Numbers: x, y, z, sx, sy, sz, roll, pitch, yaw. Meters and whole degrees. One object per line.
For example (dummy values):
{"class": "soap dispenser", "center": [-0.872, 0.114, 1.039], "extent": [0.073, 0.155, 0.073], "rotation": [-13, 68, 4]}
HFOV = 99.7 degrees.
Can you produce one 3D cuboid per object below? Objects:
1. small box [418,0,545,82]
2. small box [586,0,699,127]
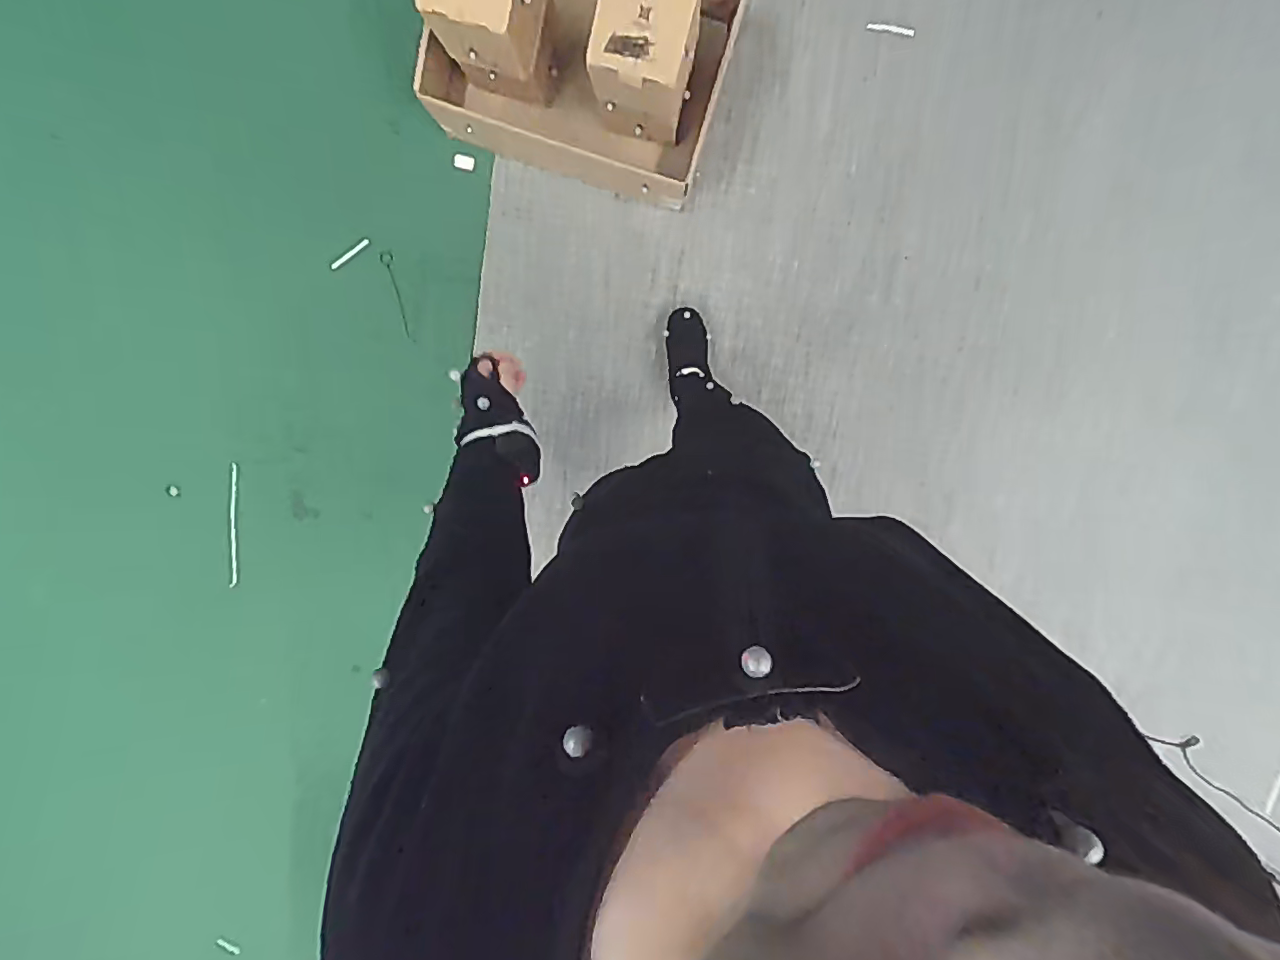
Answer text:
{"class": "small box", "center": [-0.283, -0.891, 1.001], "extent": [0.168, 0.176, 0.179], "rotation": [16, 104, -2]}
{"class": "small box", "center": [0.010, -0.799, 1.007], "extent": [0.168, 0.176, 0.179], "rotation": [16, 102, -1]}
